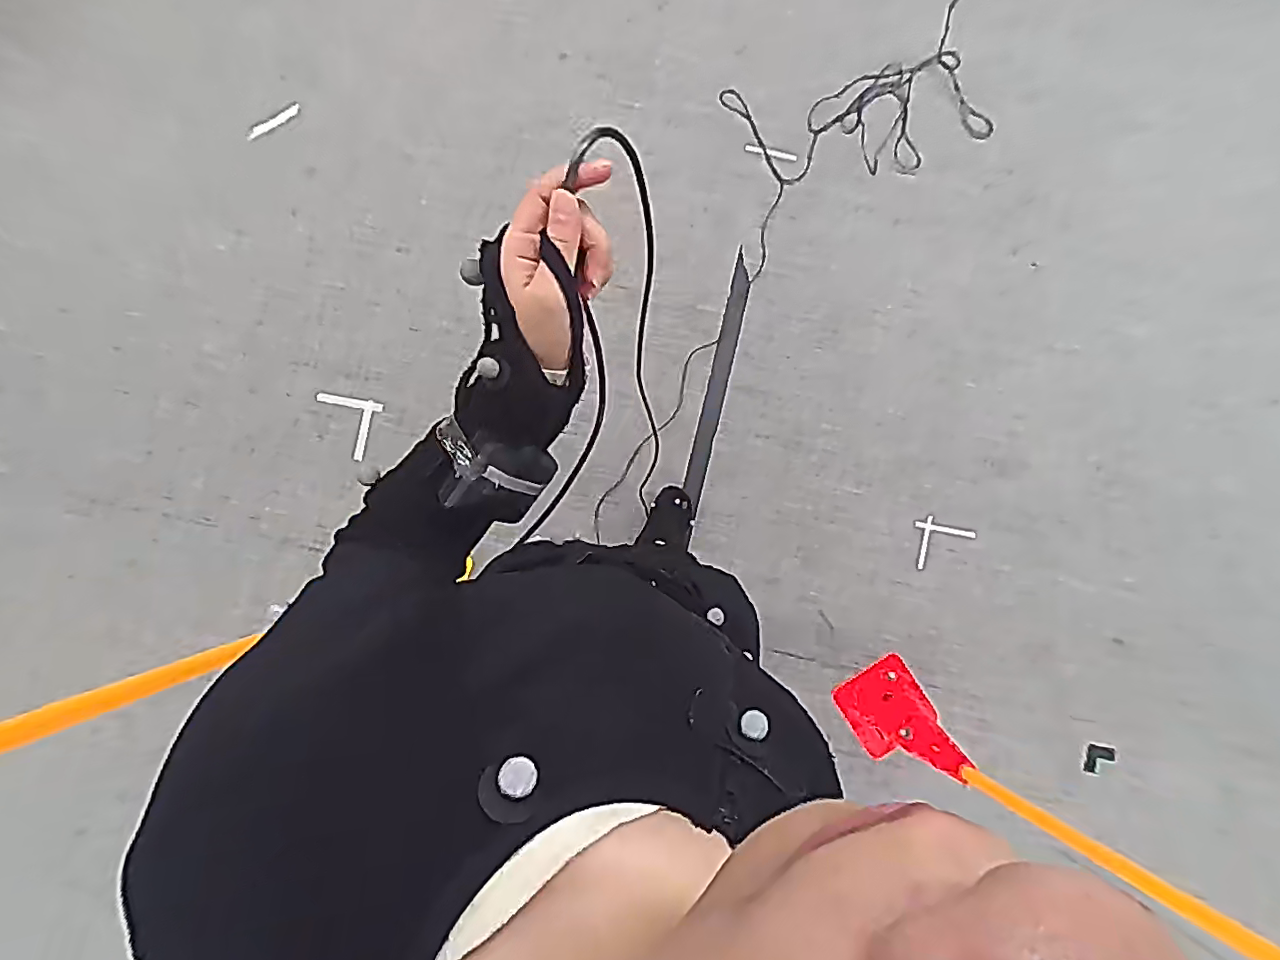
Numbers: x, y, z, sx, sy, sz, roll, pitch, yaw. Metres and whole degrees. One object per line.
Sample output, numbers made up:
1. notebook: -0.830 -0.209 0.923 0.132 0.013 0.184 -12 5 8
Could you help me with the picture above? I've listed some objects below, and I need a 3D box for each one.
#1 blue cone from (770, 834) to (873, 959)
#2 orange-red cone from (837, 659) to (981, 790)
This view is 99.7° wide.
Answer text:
1. blue cone: 0.423 0.957 1.131 0.193 0.380 0.192 28 86 2
2. orange-red cone: 0.598 0.550 1.141 0.199 0.360 0.198 -32 86 0
